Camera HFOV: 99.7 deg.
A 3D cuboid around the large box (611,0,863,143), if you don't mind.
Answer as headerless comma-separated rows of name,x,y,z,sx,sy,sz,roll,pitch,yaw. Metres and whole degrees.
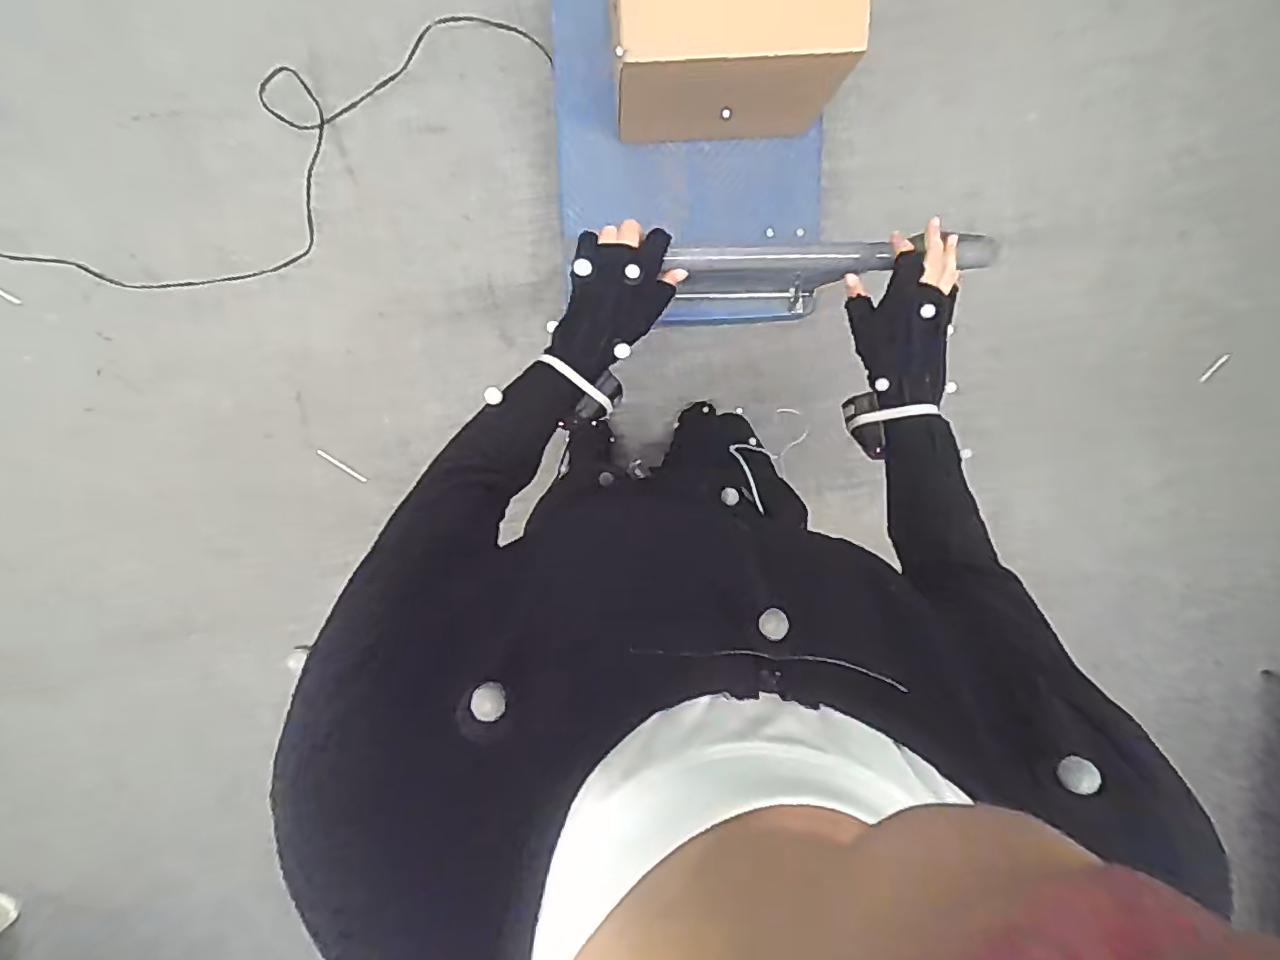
large box,0.154,-0.864,1.002,0.408,0.320,0.320,-4,100,-2
